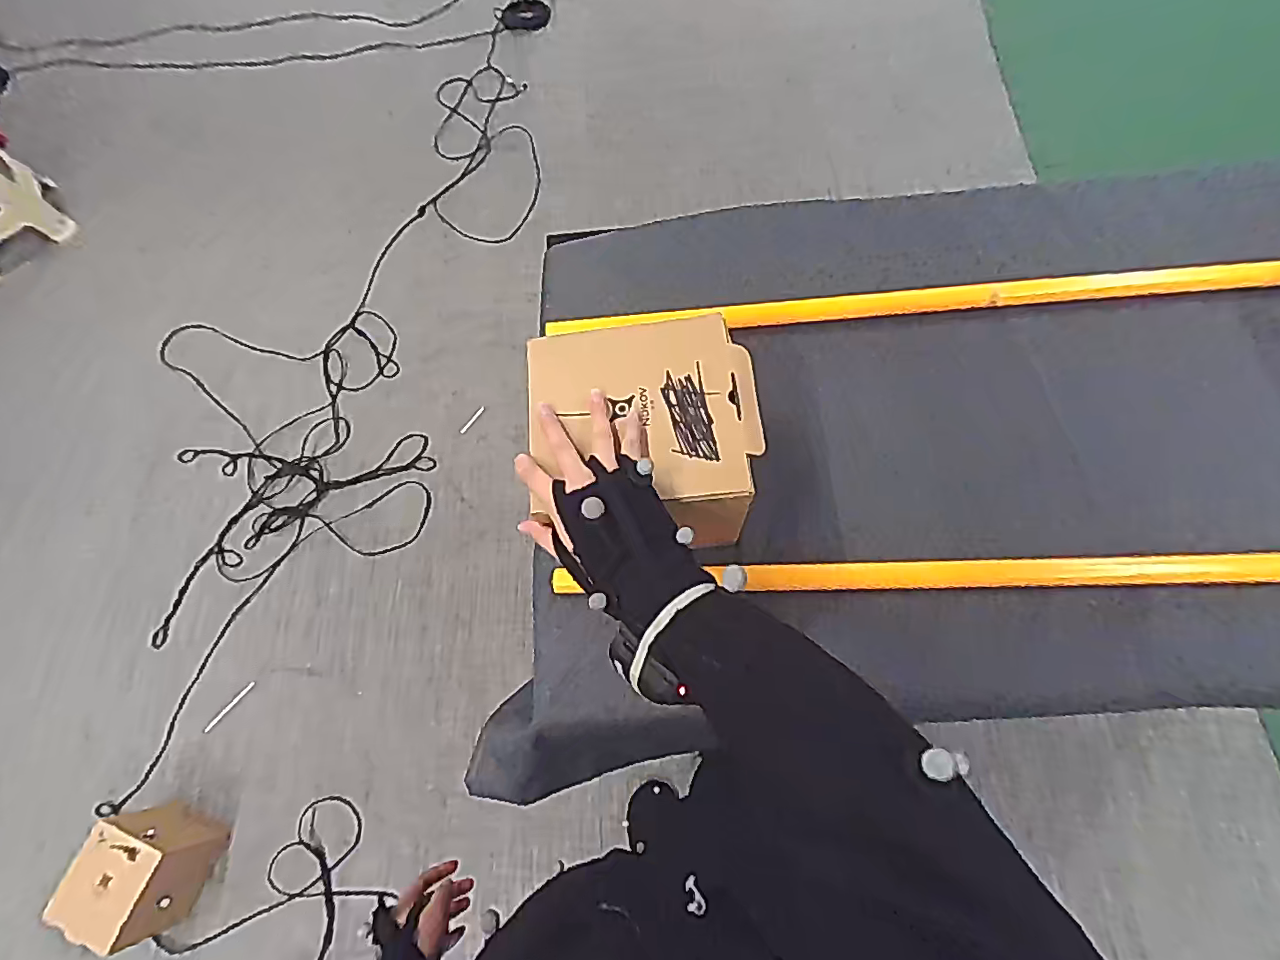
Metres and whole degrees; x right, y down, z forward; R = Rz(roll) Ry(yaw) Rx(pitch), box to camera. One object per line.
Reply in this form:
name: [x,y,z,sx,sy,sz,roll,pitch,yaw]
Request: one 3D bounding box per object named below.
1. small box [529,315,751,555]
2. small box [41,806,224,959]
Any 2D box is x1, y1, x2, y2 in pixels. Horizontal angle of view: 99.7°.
small box: [0.000,-0.031,0.519,0.179,0.176,0.168,-6,69,3]
small box: [-0.999,0.792,1.084,0.168,0.176,0.179,17,72,12]
